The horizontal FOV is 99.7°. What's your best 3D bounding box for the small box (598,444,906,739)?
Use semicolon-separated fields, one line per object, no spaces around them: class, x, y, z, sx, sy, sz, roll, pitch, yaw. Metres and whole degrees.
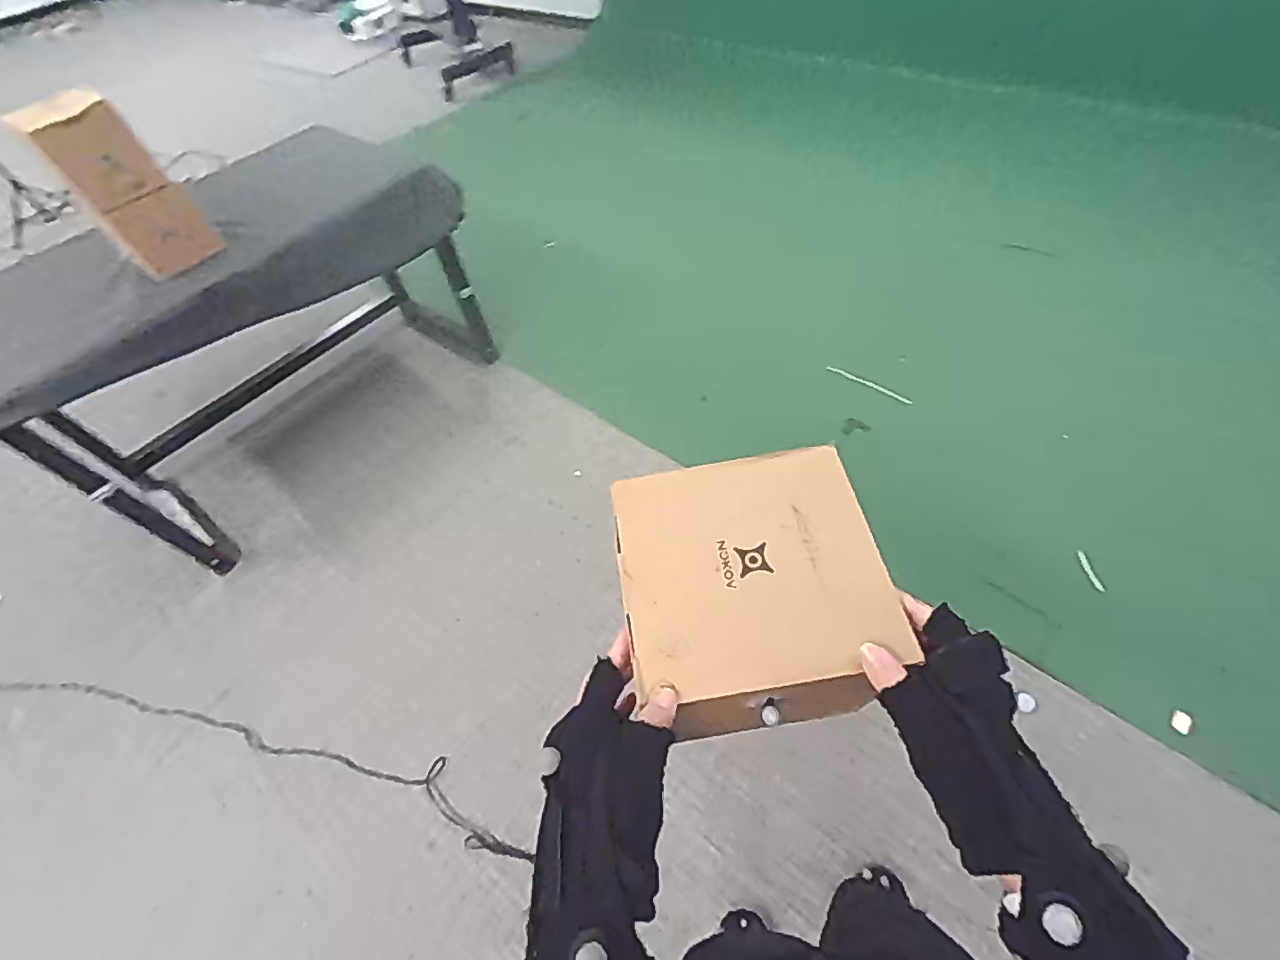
small box;0.072;0.098;0.433;0.179;0.176;0.168;-10;58;-1

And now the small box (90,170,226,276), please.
small box;-1.151;-0.625;1.300;0.168;0.176;0.179;27;60;23

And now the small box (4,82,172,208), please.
small box;-1.177;-0.717;1.166;0.179;0.176;0.168;30;63;24
